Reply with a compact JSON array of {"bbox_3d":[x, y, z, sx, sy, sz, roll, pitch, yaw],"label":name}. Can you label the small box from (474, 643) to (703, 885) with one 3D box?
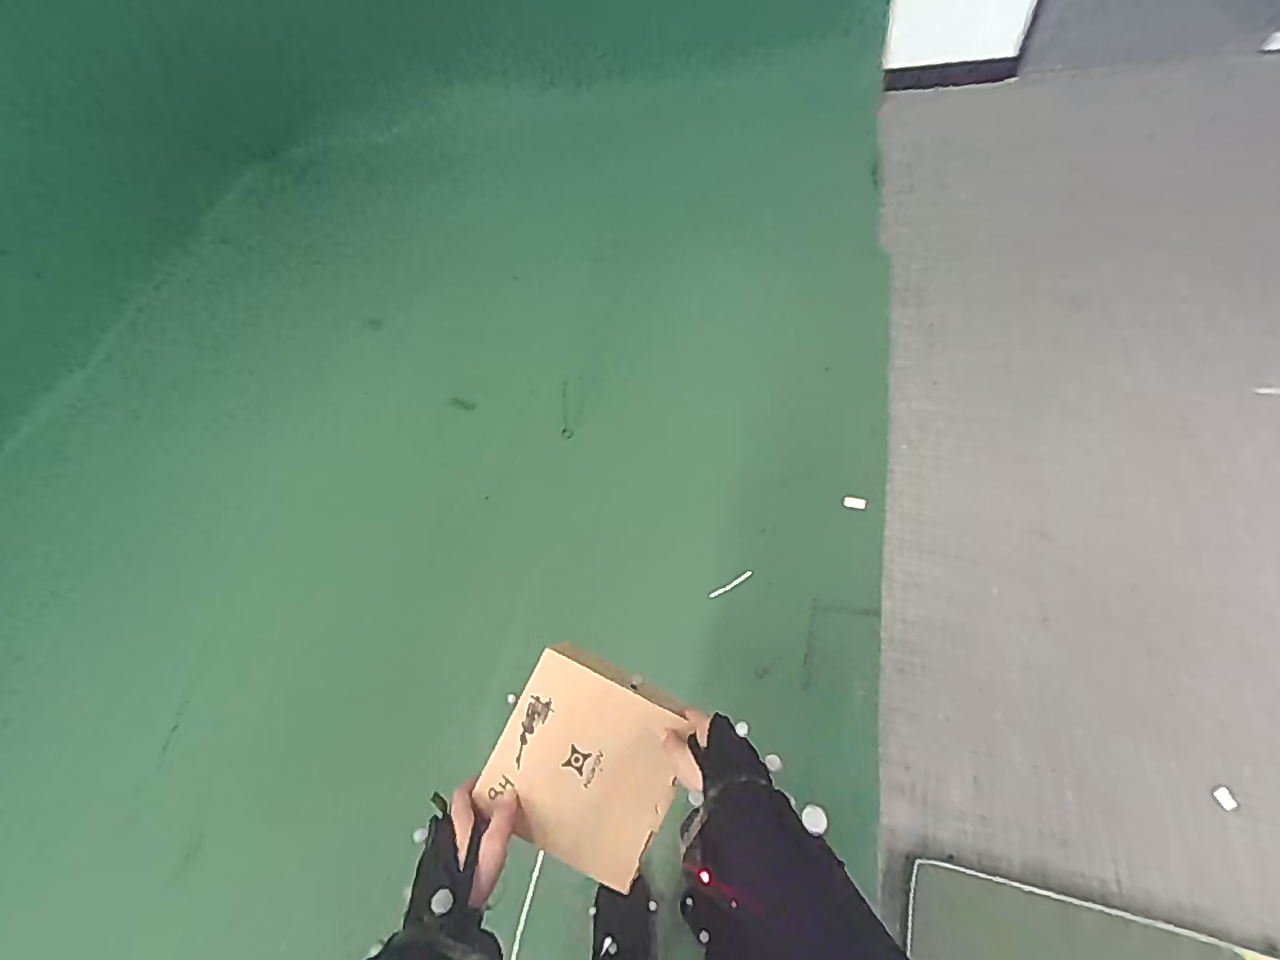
[{"bbox_3d":[-0.051,0.295,0.611,0.179,0.176,0.168,27,76,6],"label":"small box"}]
